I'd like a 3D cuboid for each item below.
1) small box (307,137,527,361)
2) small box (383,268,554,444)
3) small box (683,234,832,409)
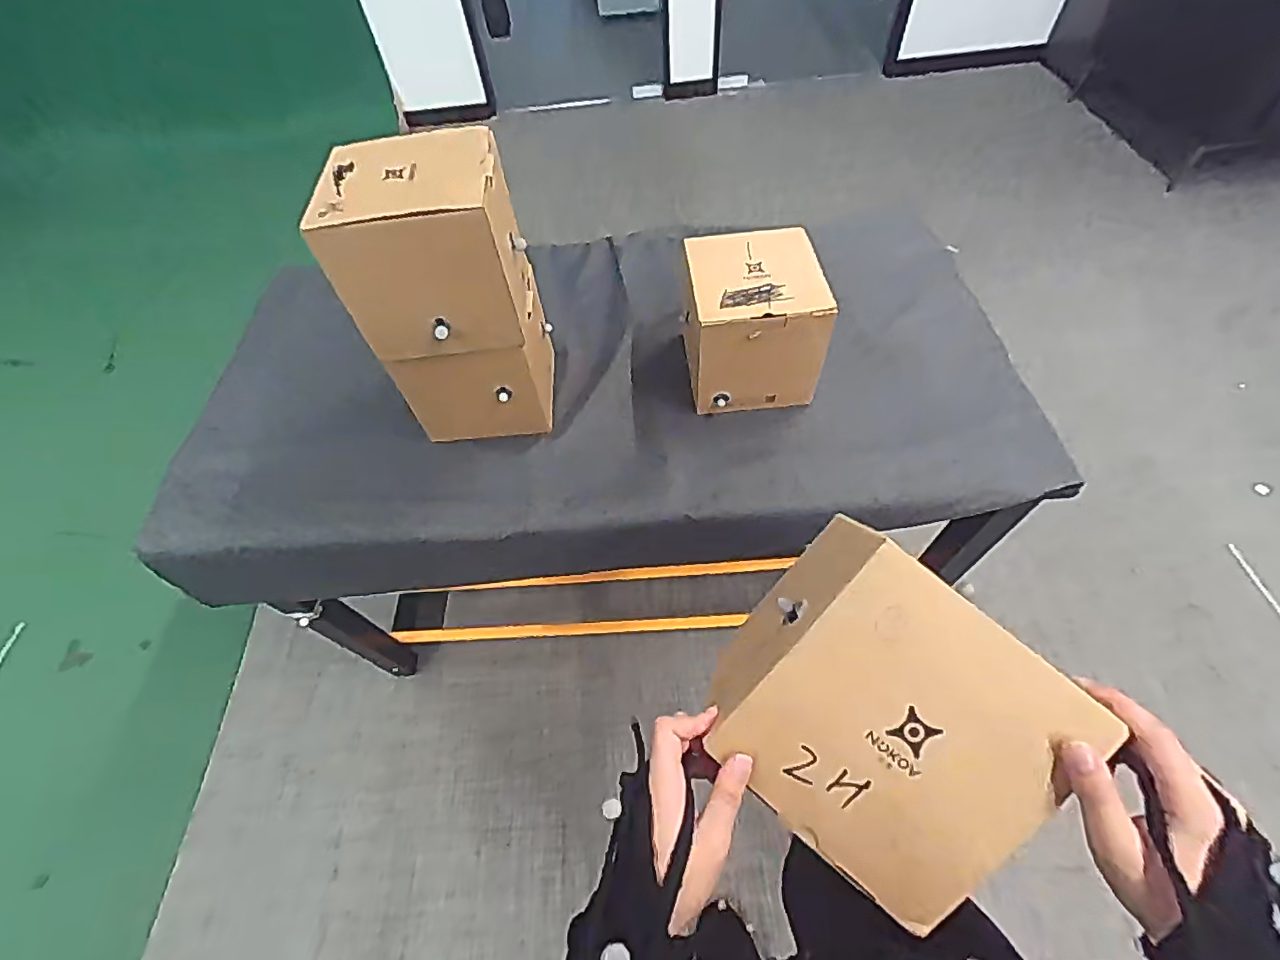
[{"bbox_3d":[-0.230,-0.257,0.616,0.179,0.176,0.168,-7,54,-1],"label":"small box"},{"bbox_3d":[-0.221,-0.168,0.755,0.179,0.176,0.168,-5,54,1],"label":"small box"},{"bbox_3d":[0.151,-0.213,0.757,0.168,0.176,0.179,-5,55,0],"label":"small box"}]
